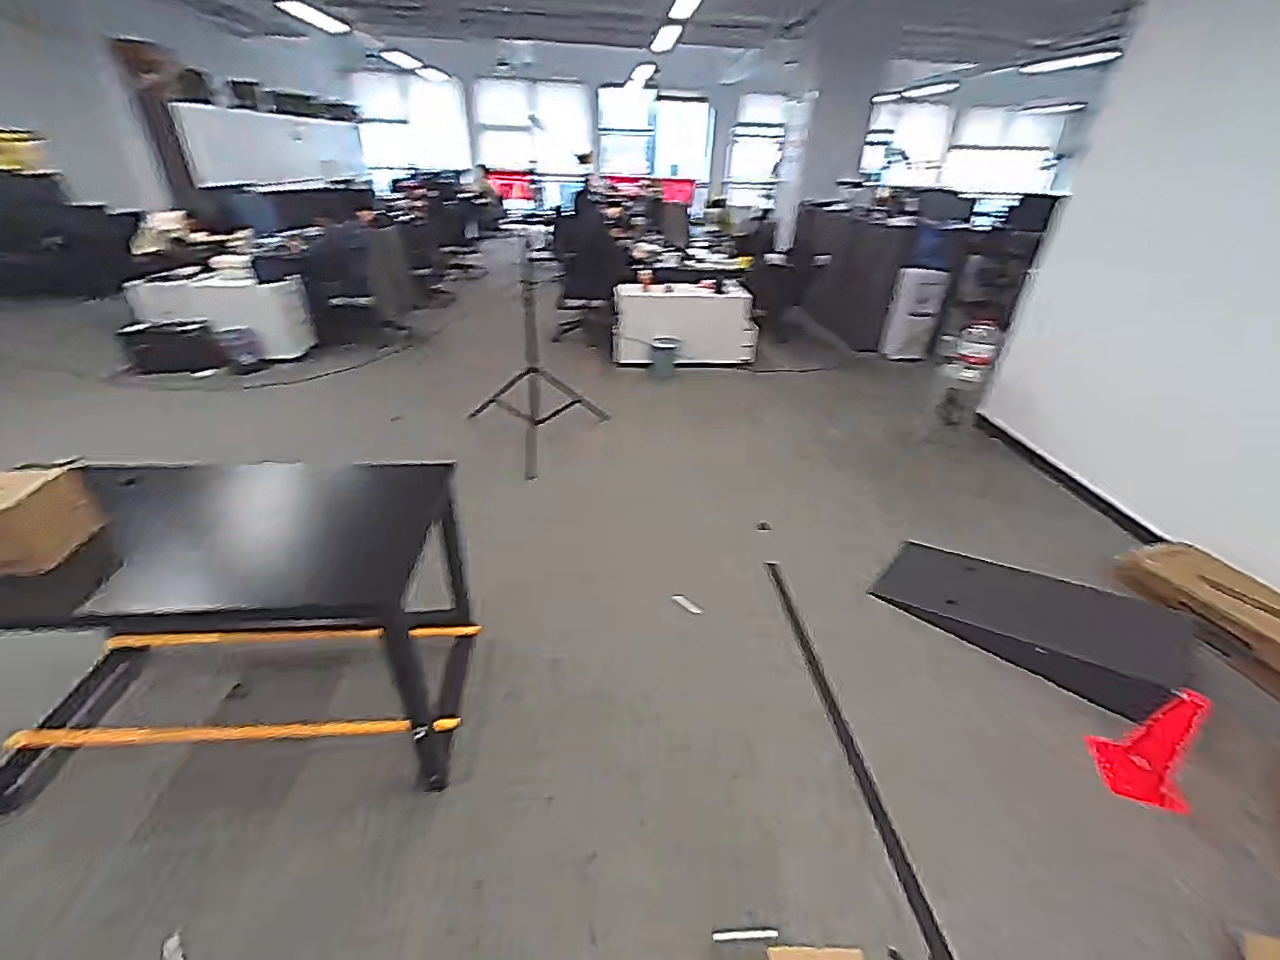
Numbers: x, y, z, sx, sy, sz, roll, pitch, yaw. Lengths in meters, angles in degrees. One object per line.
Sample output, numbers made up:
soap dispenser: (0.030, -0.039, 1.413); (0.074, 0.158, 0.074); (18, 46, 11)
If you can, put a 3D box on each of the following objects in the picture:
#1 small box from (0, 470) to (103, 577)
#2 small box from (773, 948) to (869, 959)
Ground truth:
small box: (-1.360, 0.095, 1.199); (0.168, 0.176, 0.179); (-4, 32, -9)
small box: (0.321, 0.966, 0.955); (0.179, 0.176, 0.168); (2, 31, 0)
